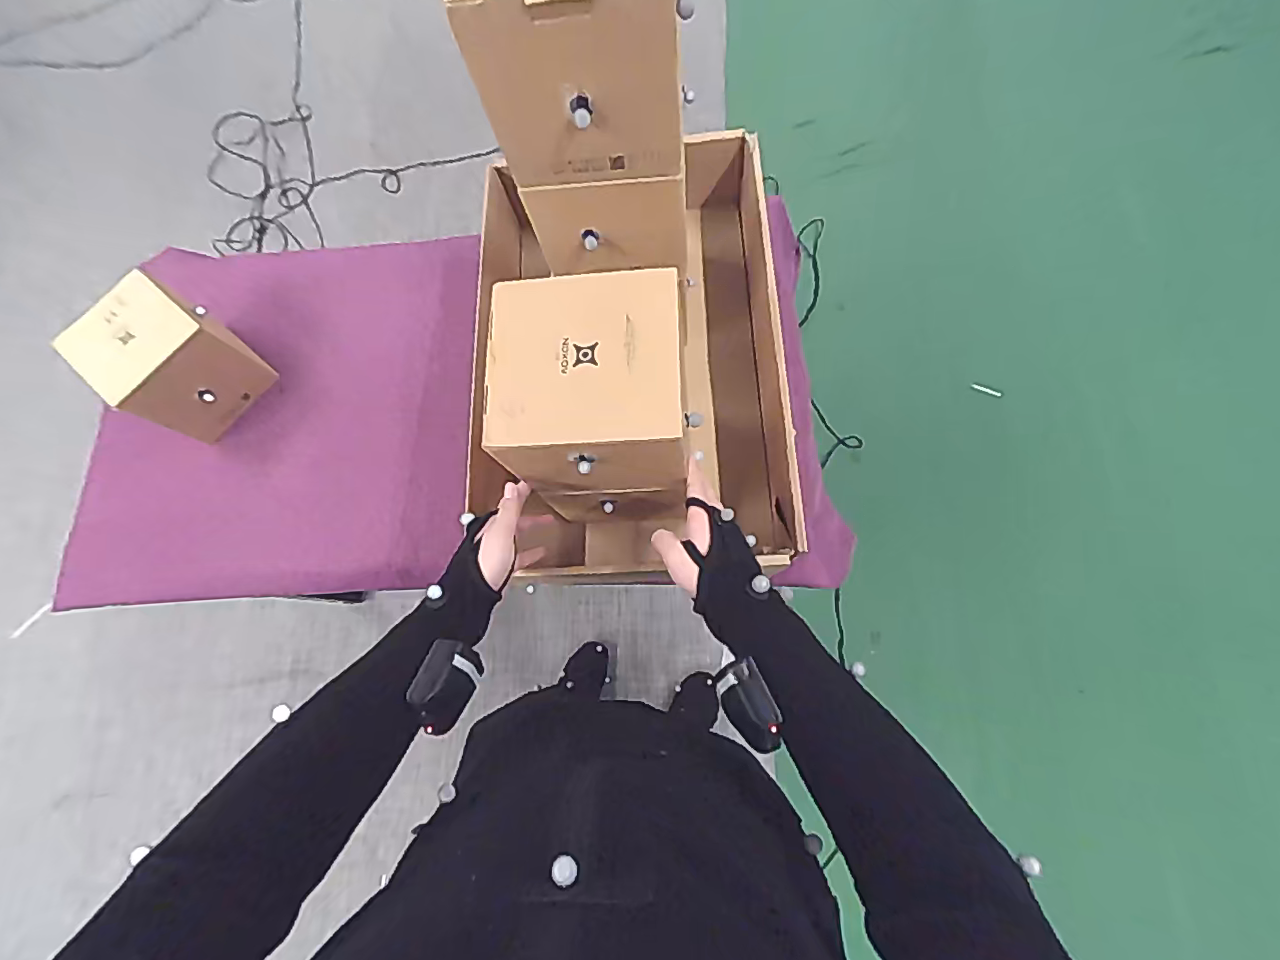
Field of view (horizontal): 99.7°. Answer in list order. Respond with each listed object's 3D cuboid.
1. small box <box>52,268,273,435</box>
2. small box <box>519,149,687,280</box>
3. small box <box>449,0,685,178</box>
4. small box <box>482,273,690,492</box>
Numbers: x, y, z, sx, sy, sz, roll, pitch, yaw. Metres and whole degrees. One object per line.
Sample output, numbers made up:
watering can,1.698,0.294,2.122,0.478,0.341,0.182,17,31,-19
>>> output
small box,-0.752,-0.194,0.874,0.179,0.176,0.168,38,80,14
small box,-0.030,-0.346,0.628,0.168,0.176,0.179,-1,74,6
small box,-0.046,-0.392,0.471,0.168,0.176,0.179,-1,75,5
small box,-0.041,-0.085,0.553,0.179,0.176,0.168,-2,75,6
